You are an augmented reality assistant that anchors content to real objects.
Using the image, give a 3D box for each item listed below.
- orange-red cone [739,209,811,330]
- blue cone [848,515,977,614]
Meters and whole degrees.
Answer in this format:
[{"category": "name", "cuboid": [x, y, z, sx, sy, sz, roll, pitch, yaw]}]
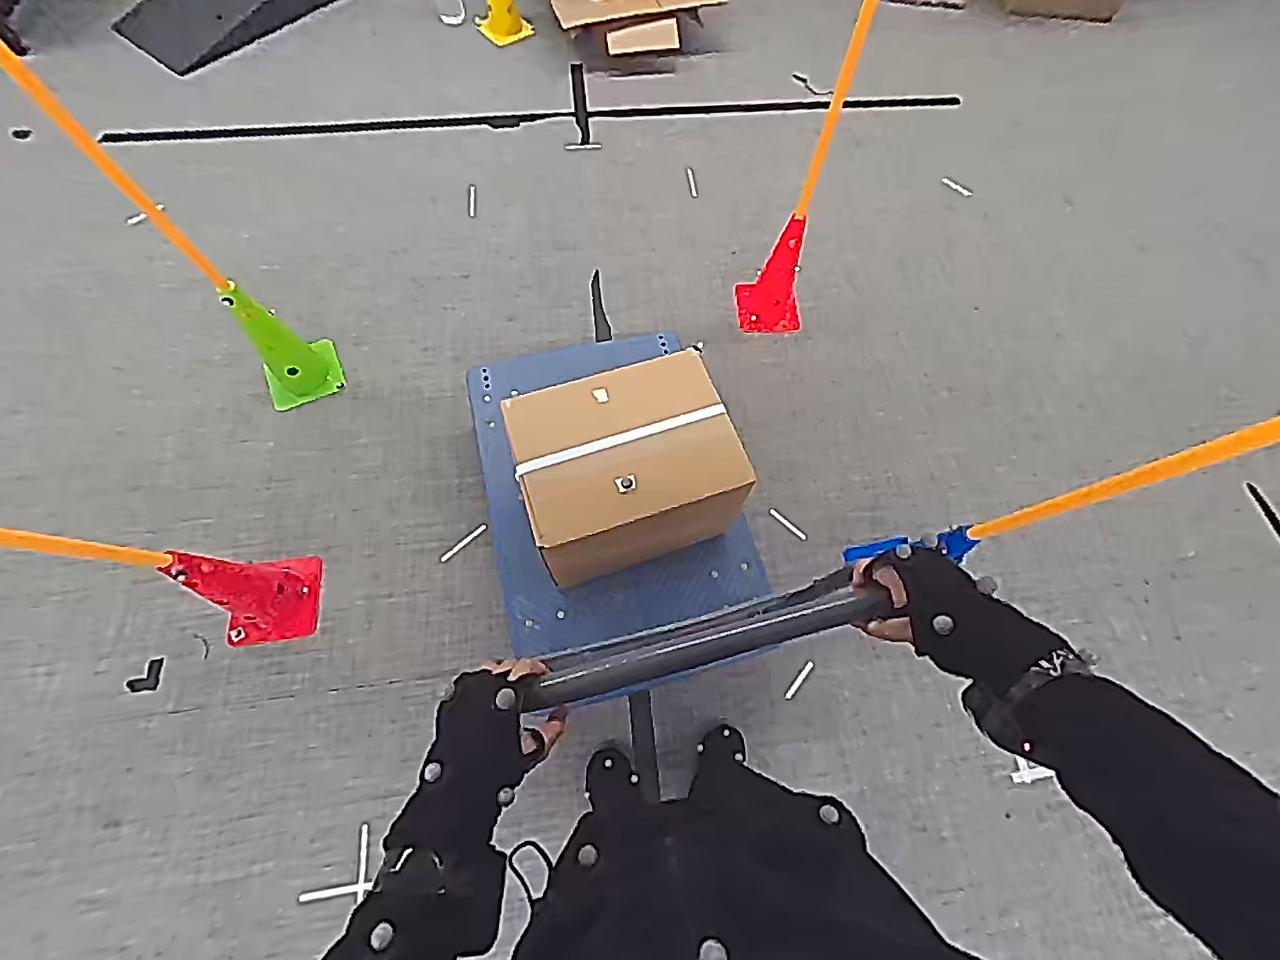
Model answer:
[{"category": "orange-red cone", "cuboid": [0.430, -0.637, 1.596, 0.199, 0.360, 0.198, 1, 66, -3]}, {"category": "blue cone", "cuboid": [0.661, 0.176, 1.256, 0.193, 0.380, 0.192, -9, 65, -7]}]
